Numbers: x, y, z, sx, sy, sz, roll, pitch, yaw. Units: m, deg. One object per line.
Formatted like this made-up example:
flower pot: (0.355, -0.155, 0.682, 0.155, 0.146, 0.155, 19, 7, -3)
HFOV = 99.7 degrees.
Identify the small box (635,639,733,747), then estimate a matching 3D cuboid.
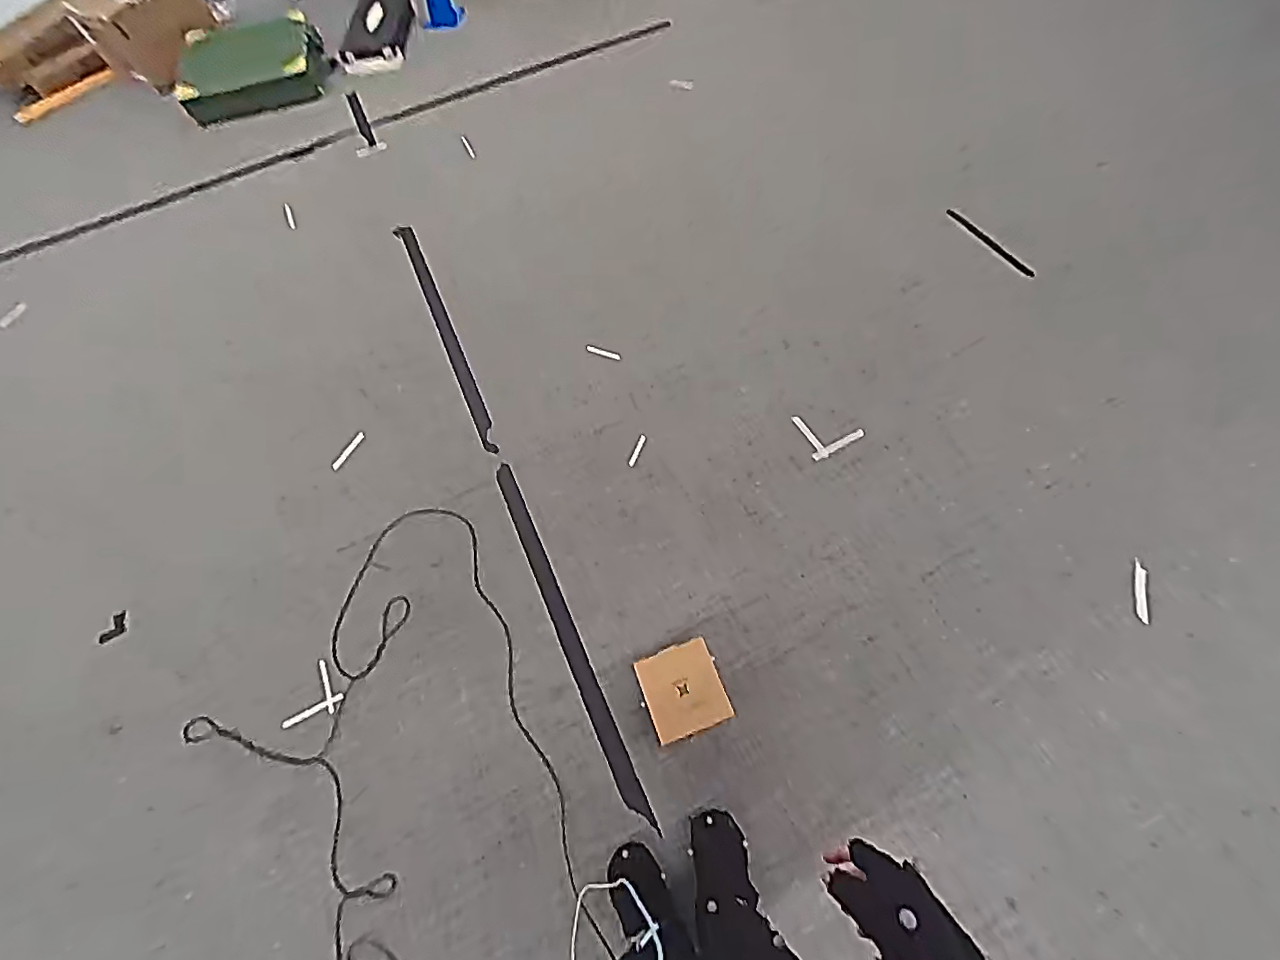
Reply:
small box: (0.096, 0.488, 1.227, 0.168, 0.176, 0.179, -20, 63, -5)
